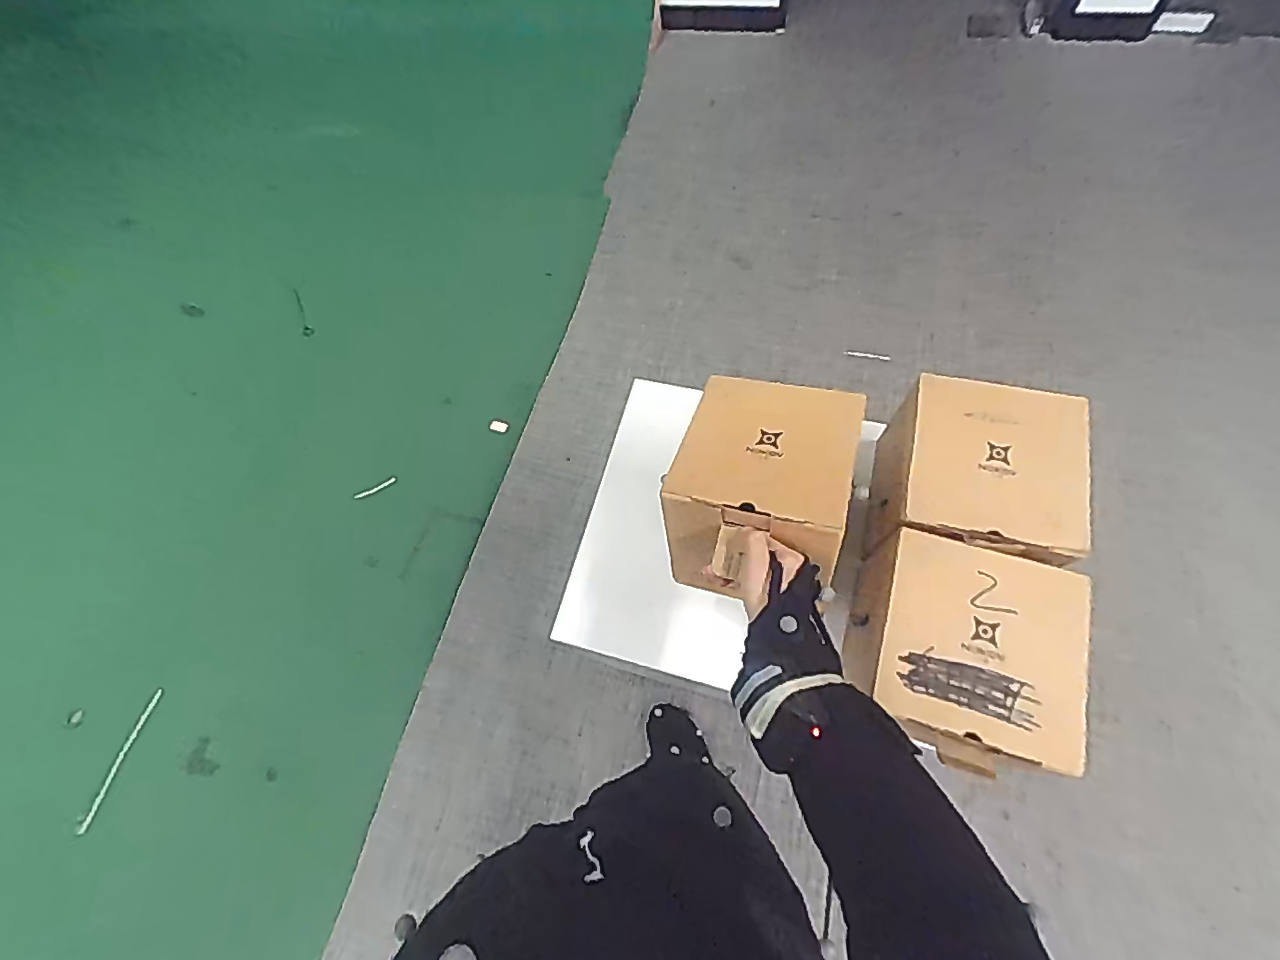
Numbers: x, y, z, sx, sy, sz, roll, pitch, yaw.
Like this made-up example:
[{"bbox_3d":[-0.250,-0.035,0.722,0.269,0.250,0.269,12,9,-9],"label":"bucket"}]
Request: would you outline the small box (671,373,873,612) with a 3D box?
[{"bbox_3d":[0.141,0.013,0.588,0.168,0.176,0.179,12,53,19],"label":"small box"}]
